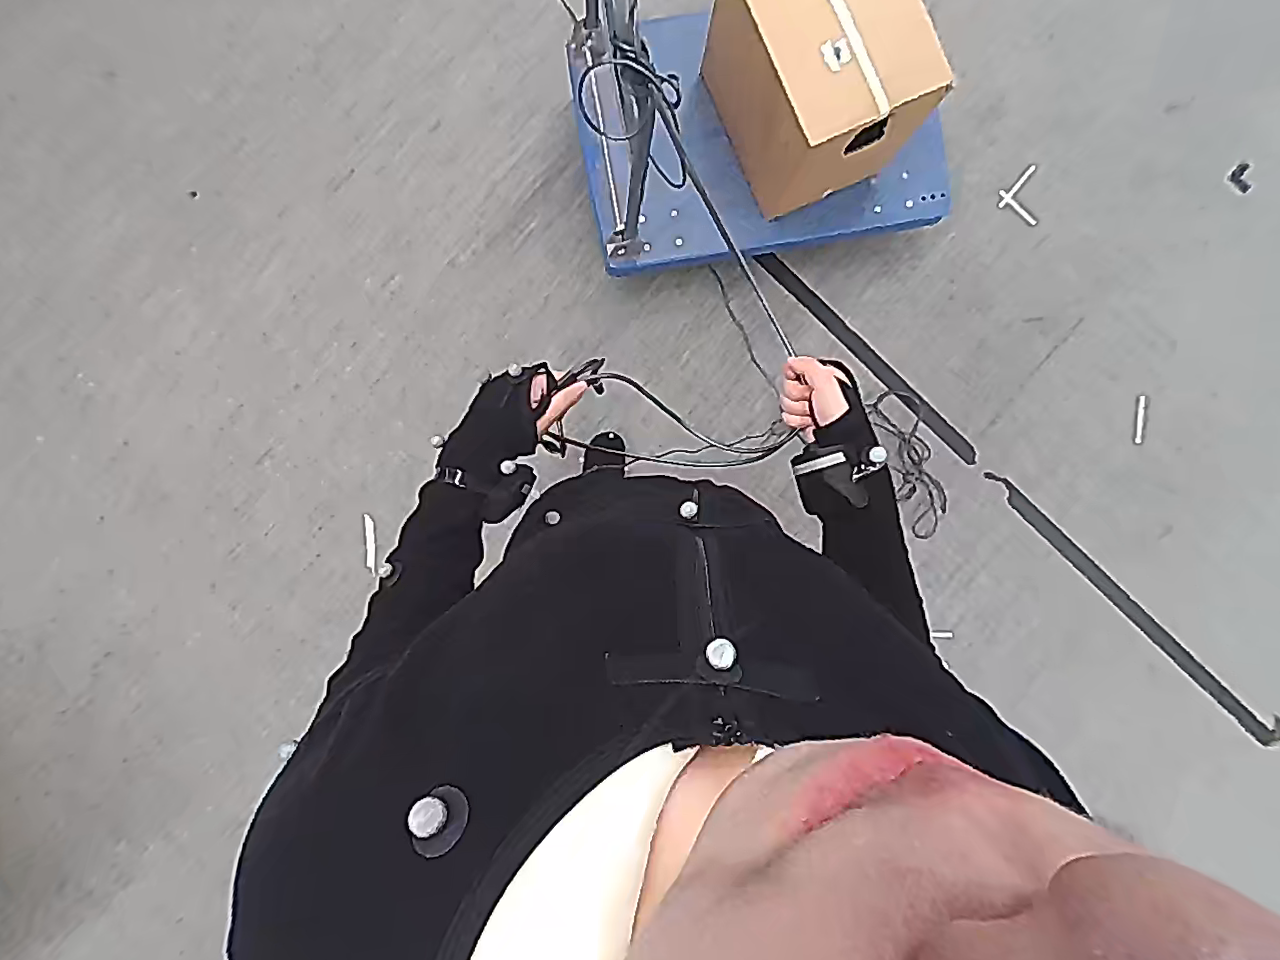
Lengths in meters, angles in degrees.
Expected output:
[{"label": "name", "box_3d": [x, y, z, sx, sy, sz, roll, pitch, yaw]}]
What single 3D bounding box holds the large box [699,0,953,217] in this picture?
[{"label": "large box", "box_3d": [0.366, -0.870, 1.157, 0.320, 0.320, 0.408, -25, 93, -1]}]
